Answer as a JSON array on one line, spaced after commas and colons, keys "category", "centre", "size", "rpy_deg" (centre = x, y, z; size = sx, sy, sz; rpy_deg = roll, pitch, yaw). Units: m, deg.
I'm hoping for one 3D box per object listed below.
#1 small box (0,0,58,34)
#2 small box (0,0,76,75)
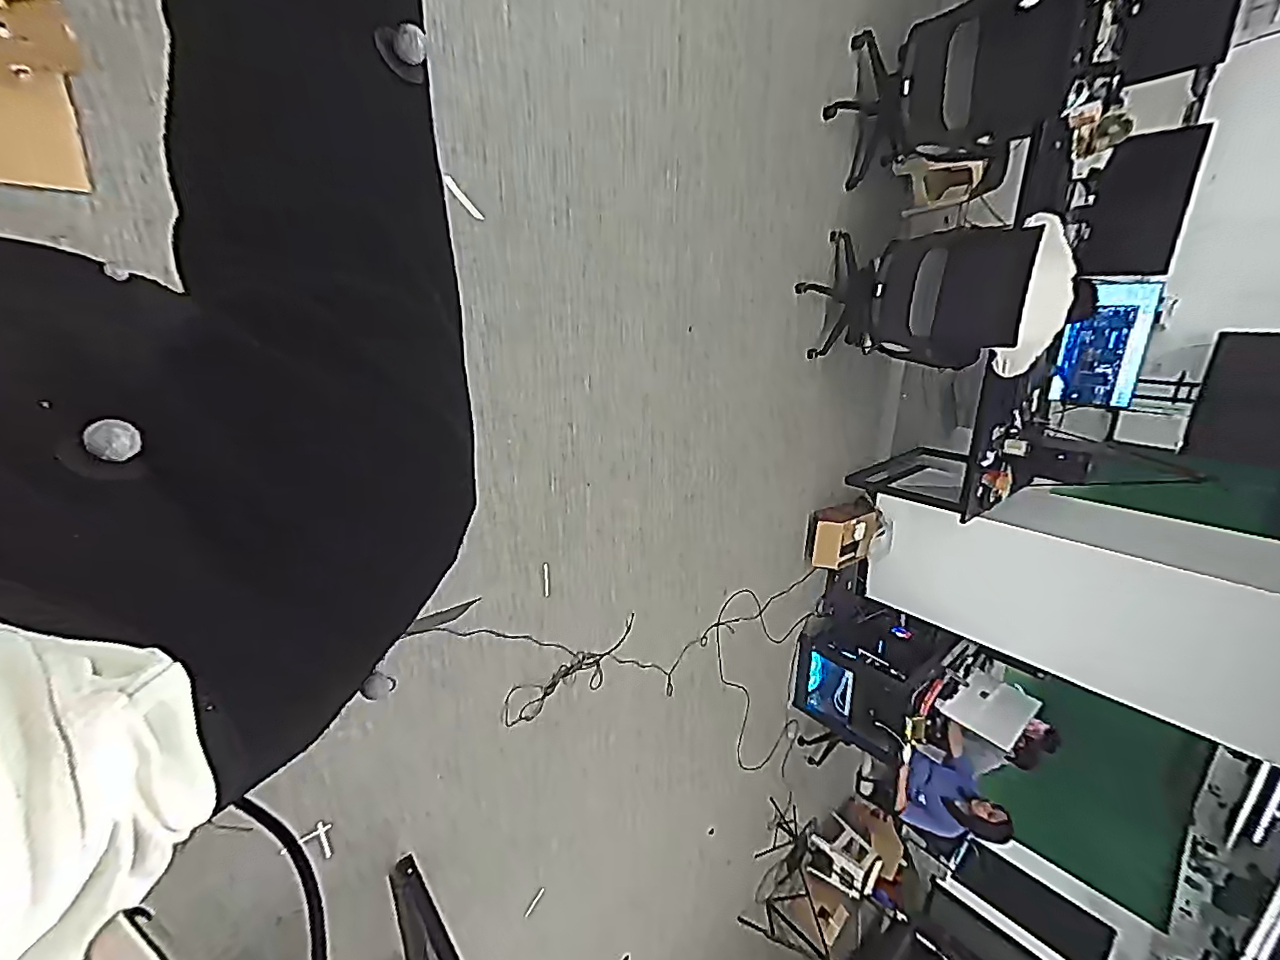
[{"category": "small box", "centre": [-1.008, -0.774, 0.782], "size": [0.168, 0.176, 0.179], "rpy_deg": [-32, 124, -30]}, {"category": "small box", "centre": [-1.110, -0.813, 0.904], "size": [0.168, 0.176, 0.179], "rpy_deg": [-34, 123, -29]}]
